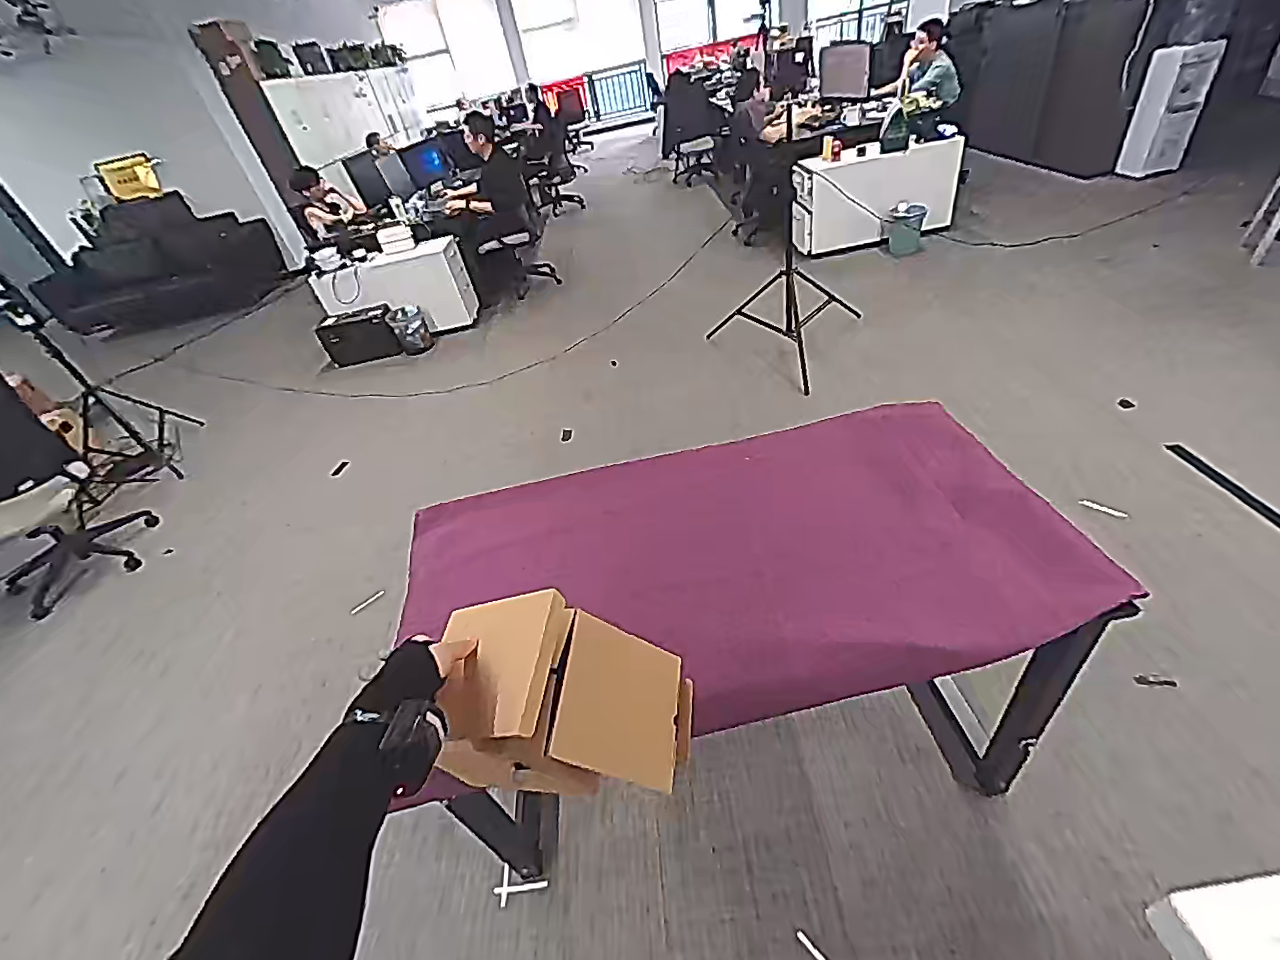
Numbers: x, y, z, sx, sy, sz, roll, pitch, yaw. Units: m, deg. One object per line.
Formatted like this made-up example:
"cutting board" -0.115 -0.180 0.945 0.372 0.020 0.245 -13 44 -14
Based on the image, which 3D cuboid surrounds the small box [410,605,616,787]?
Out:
"small box" -0.142 0.272 0.680 0.179 0.176 0.168 -6 46 16
